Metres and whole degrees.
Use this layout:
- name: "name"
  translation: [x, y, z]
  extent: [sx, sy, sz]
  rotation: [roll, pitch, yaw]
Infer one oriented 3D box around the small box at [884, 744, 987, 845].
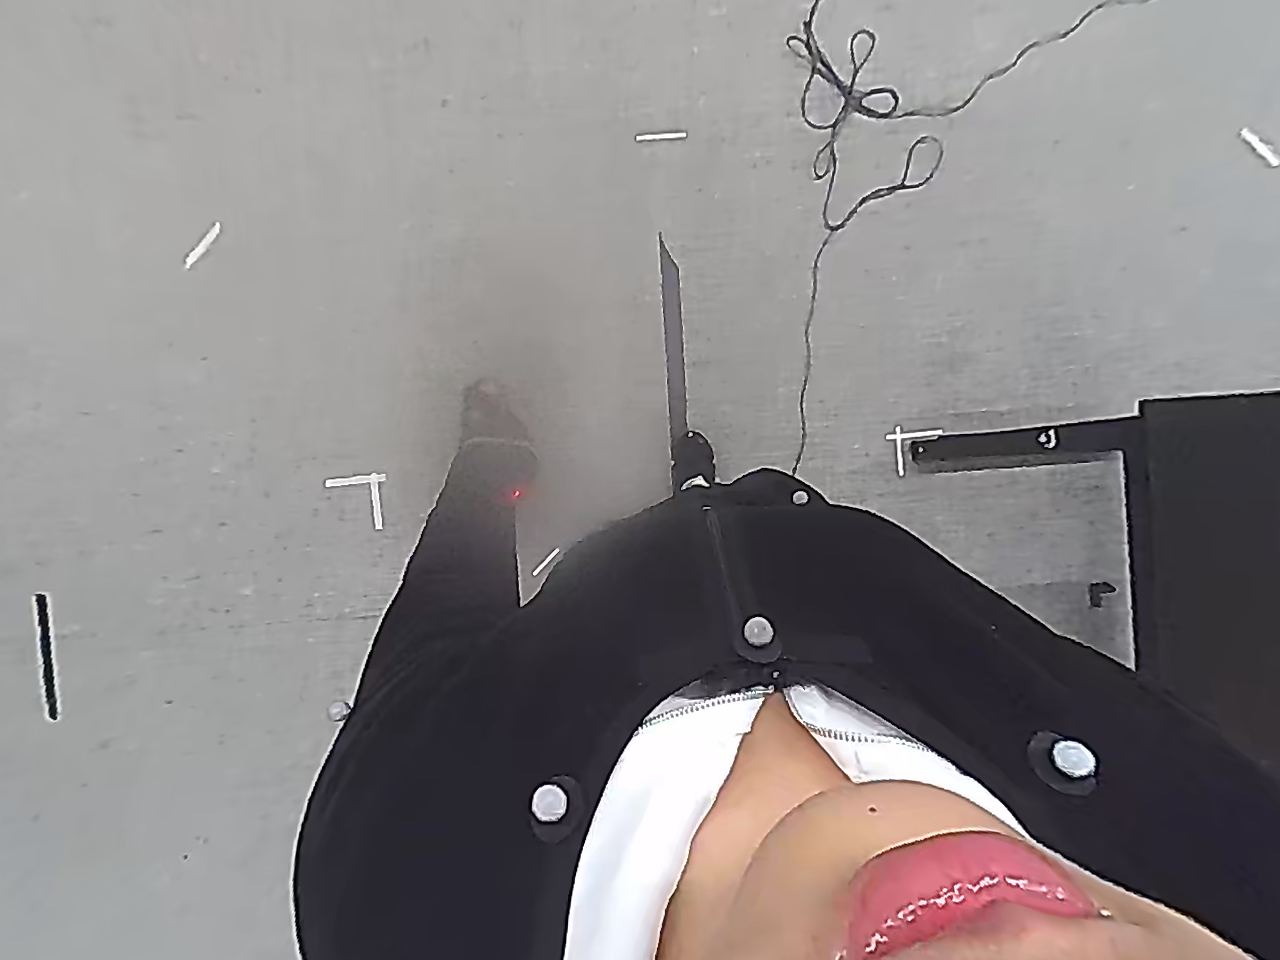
- name: "small box"
  translation: [0.762, 0.808, 1.405]
  extent: [0.179, 0.176, 0.168]
  rotation: [-5, 90, 1]
